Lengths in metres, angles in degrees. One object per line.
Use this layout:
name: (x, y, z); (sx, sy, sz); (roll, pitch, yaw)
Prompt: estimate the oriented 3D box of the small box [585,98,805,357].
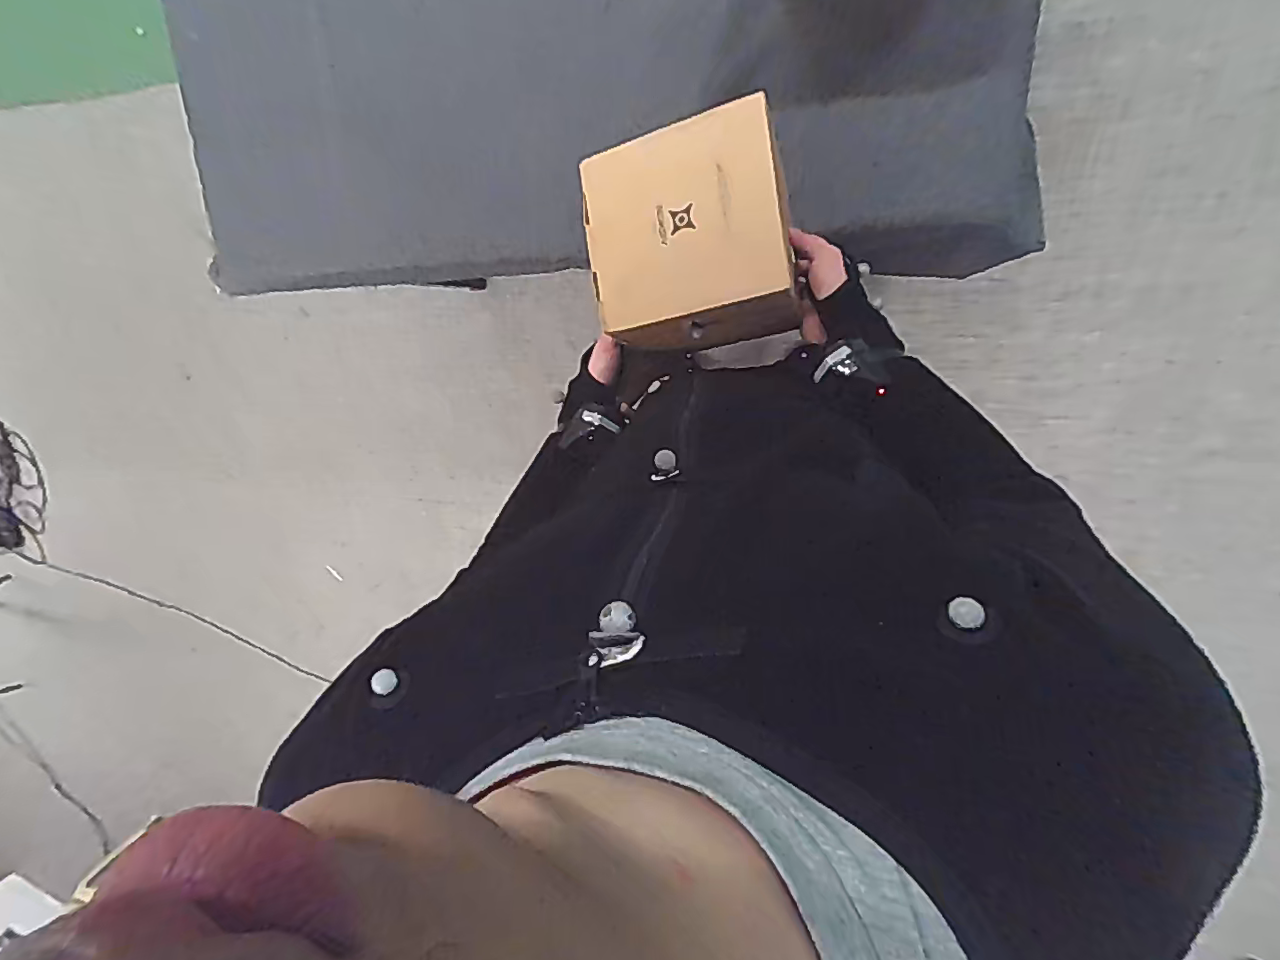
small box: (0.065, -0.231, 0.553); (0.179, 0.176, 0.168); (-8, 91, 20)
